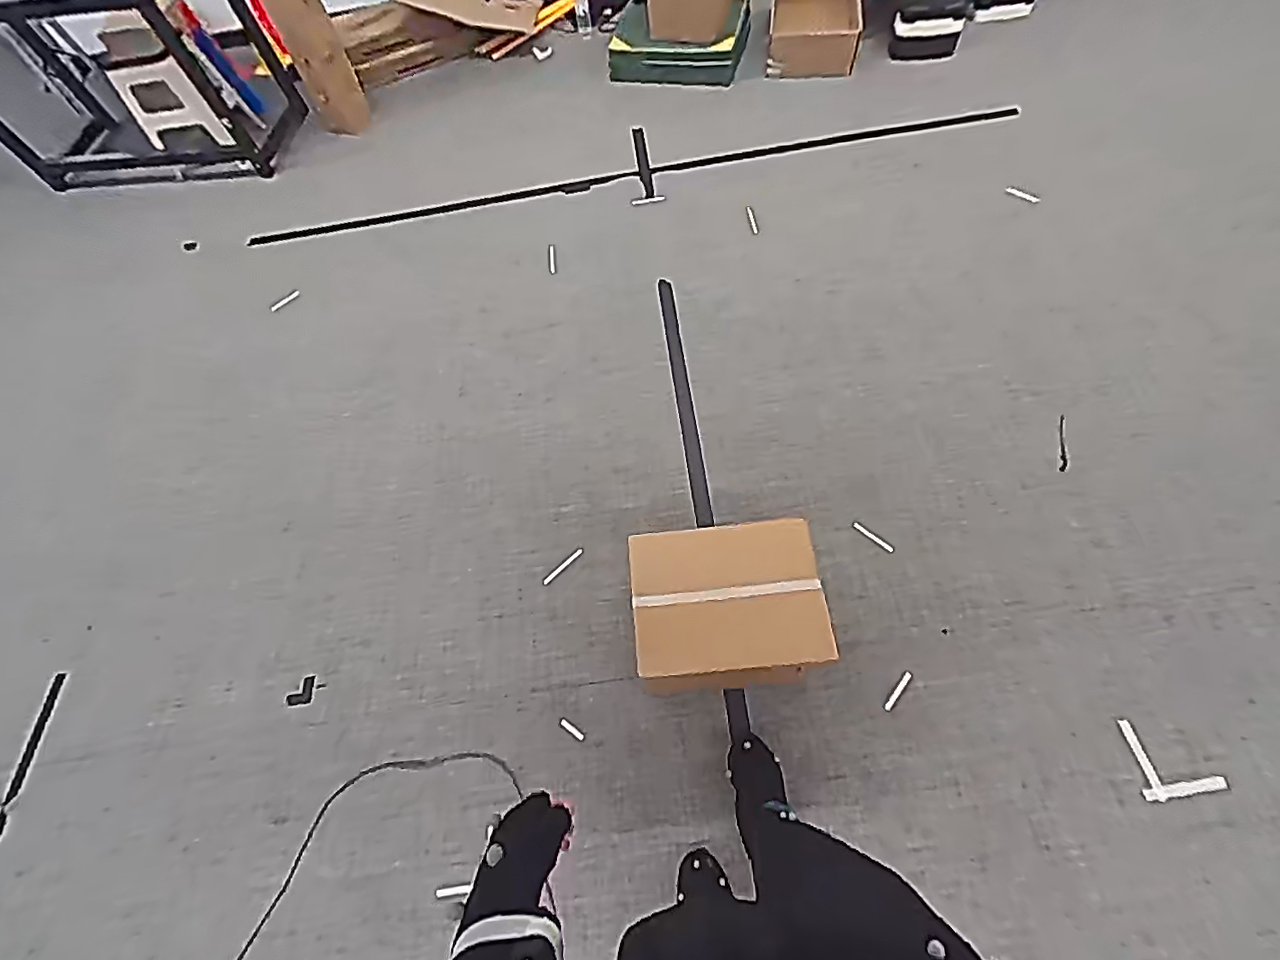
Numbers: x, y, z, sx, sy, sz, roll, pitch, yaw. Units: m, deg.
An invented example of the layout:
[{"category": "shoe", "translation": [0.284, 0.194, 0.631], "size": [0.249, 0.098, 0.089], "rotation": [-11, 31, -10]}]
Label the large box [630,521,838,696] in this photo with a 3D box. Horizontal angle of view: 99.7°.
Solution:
[{"category": "large box", "translation": [0.201, 0.318, 1.283], "size": [0.408, 0.320, 0.320], "rotation": [-6, 61, 2]}]
